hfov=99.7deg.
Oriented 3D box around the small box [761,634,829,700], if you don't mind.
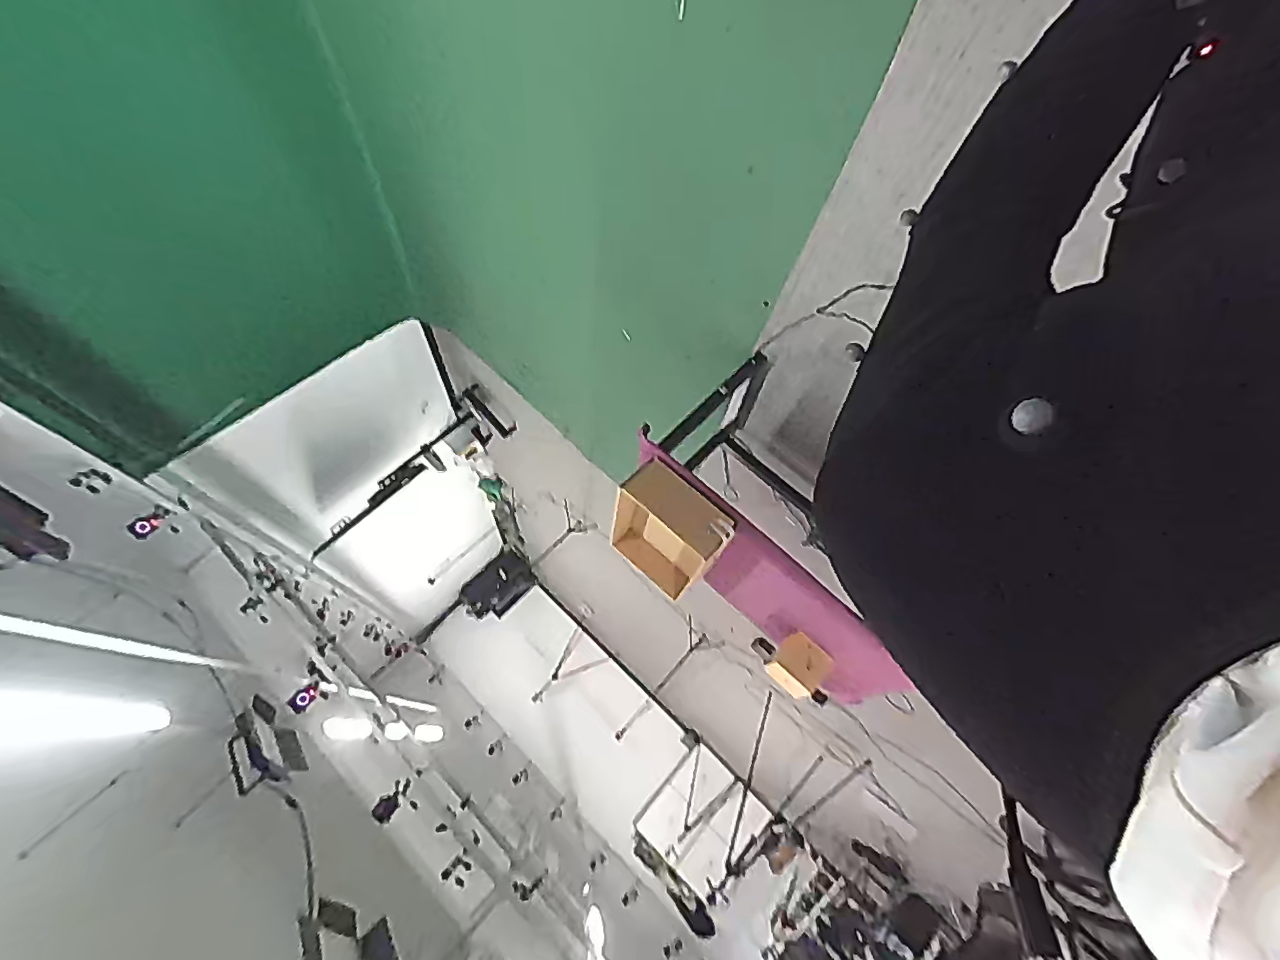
[{"bbox_3d":[0.598,0.715,2.081,0.168,0.176,0.179,41,157,15],"label":"small box"}]
